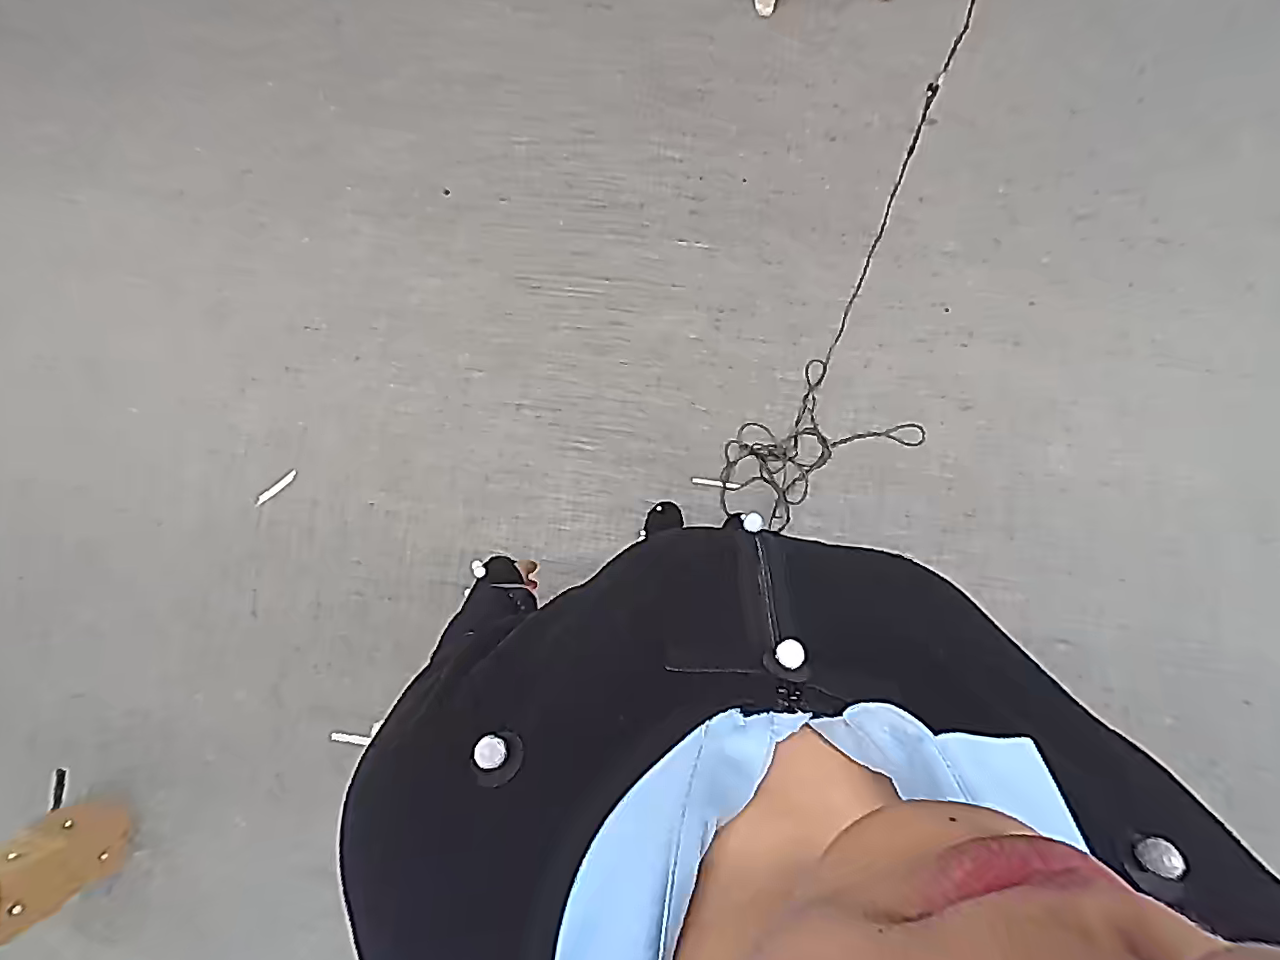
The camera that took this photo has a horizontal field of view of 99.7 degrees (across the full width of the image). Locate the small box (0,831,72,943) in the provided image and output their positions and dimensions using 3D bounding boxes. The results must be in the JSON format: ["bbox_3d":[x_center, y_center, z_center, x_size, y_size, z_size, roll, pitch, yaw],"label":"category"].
[{"bbox_3d":[-1.631,1.045,1.395,0.168,0.176,0.179,2,88,5],"label":"small box"}]

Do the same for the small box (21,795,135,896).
[{"bbox_3d":[-1.624,1.045,1.558,0.179,0.176,0.168,11,88,6],"label":"small box"}]
